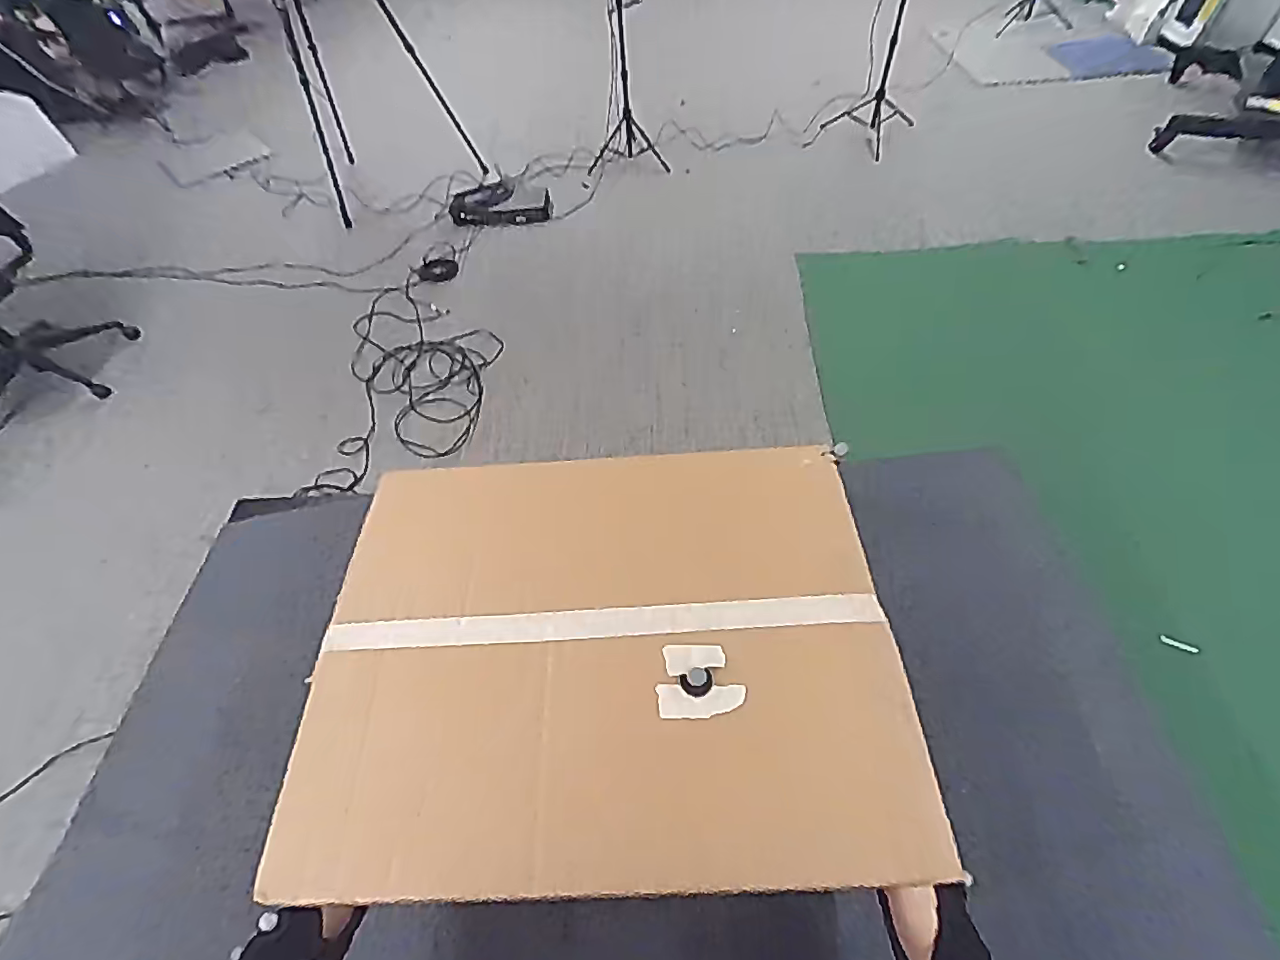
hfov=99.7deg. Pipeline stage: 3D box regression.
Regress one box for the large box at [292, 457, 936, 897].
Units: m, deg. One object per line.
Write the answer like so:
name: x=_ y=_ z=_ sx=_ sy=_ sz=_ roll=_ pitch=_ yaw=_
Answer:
large box: x=-0.017 y=0.203 z=0.534 sx=0.408 sy=0.320 sz=0.320 roll=-3 pitch=54 yaw=1
